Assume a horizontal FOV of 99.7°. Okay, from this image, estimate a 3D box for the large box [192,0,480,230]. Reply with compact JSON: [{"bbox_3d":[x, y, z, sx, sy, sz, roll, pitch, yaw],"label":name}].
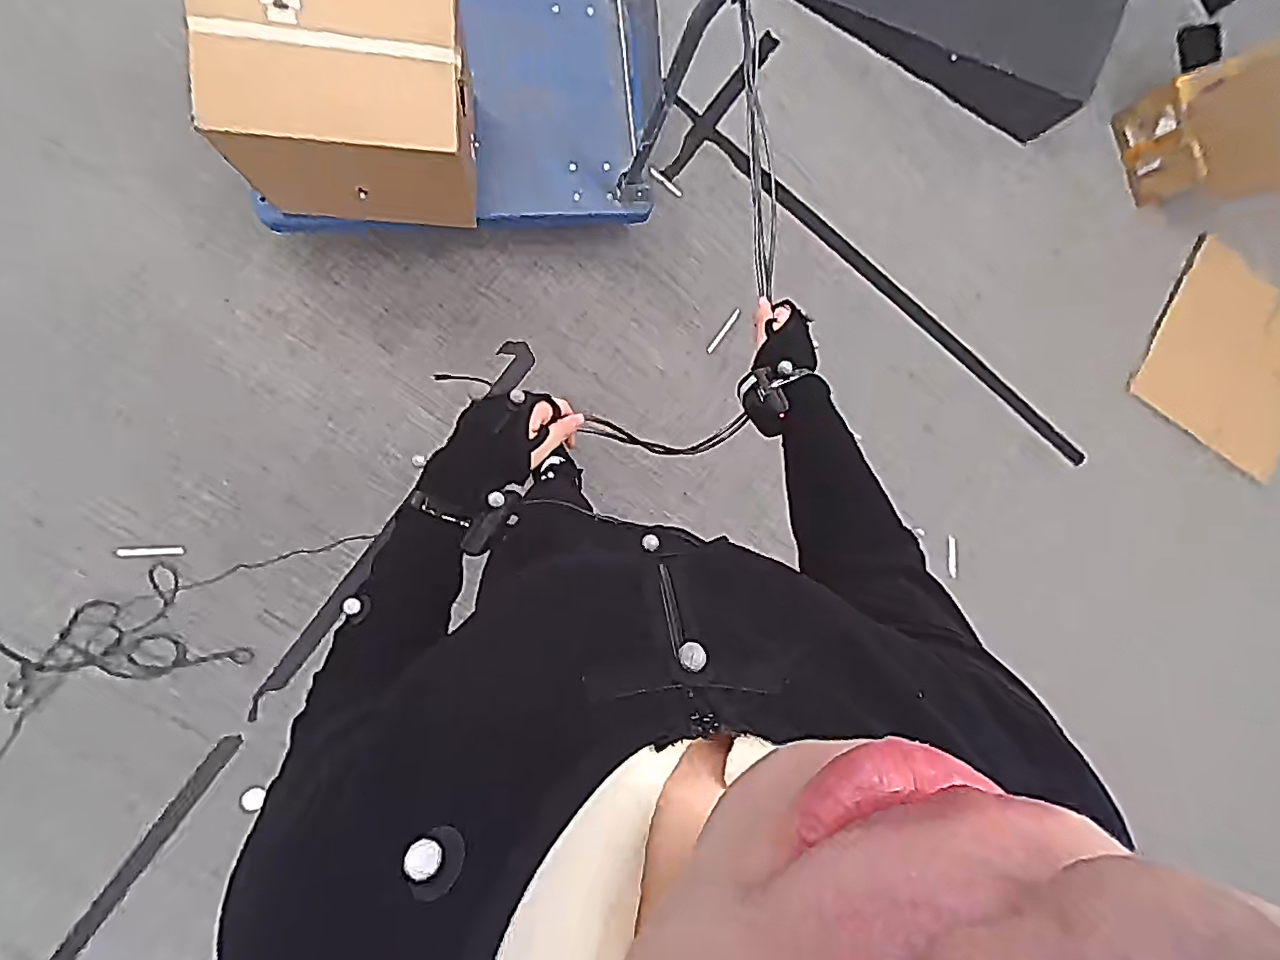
[{"bbox_3d":[-0.535,-0.700,1.035,0.408,0.320,0.320,-1,91,-10],"label":"large box"}]
